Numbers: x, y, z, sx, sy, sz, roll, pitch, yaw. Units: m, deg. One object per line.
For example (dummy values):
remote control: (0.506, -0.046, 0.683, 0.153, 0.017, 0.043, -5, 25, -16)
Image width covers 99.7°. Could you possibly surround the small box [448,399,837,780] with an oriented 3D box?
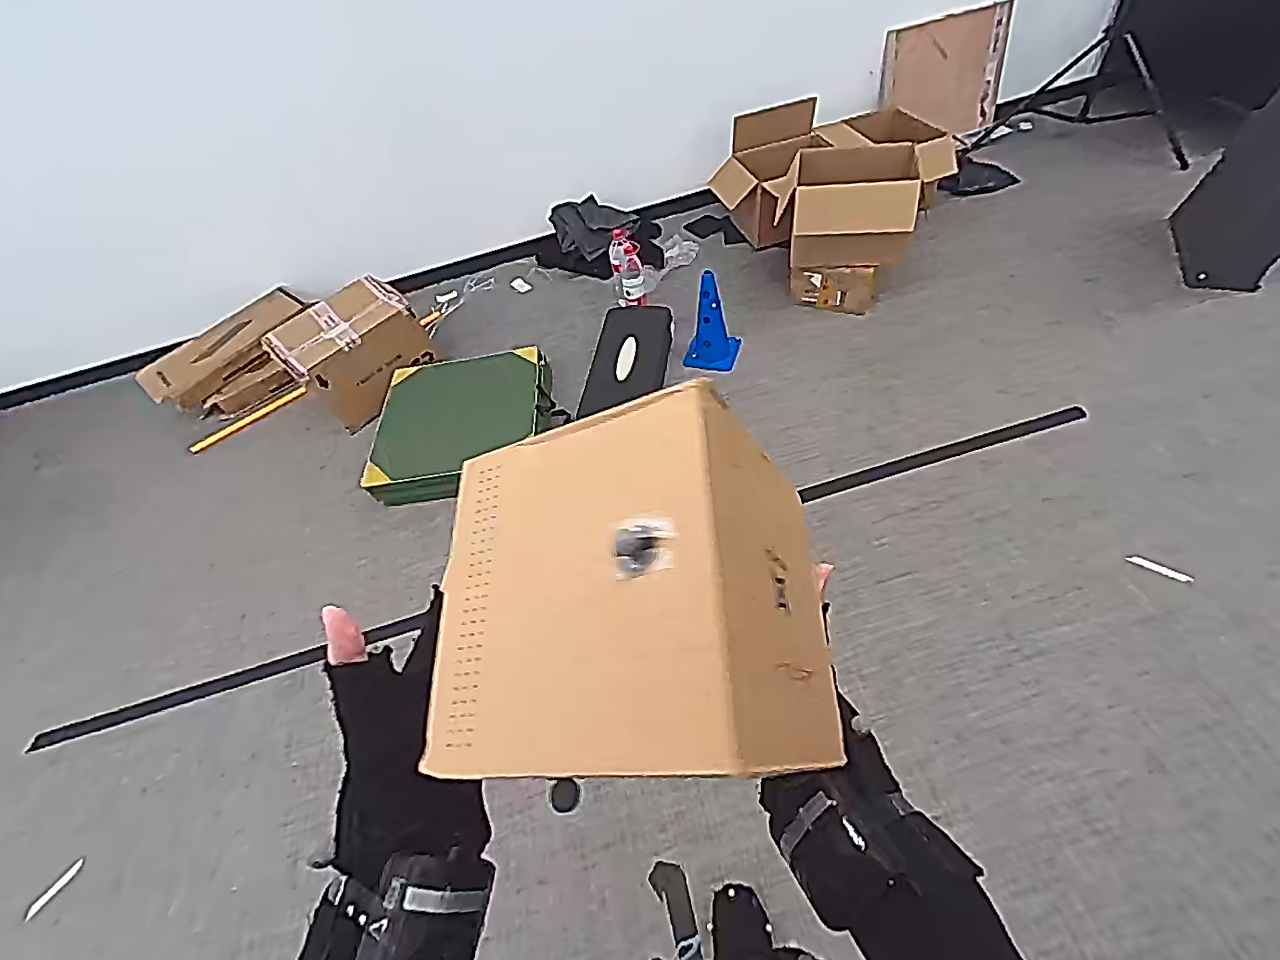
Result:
small box: (0.006, 0.084, 0.336, 0.176, 0.168, 0.179, -16, 59, 25)
